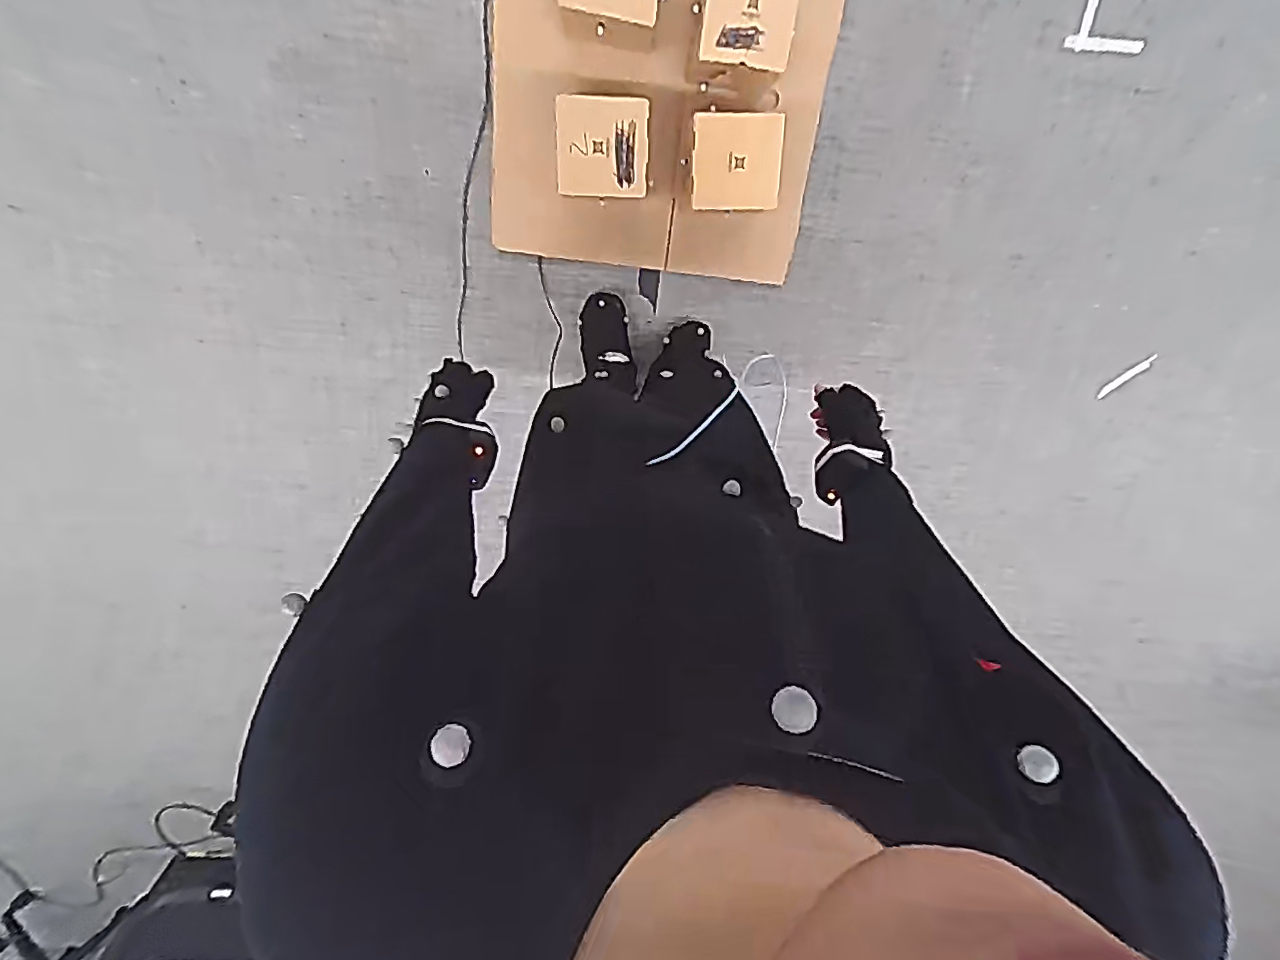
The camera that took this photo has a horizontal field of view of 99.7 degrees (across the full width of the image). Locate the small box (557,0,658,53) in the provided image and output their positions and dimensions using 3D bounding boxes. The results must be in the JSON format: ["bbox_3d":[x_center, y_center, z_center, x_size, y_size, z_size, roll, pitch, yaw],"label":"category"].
[{"bbox_3d":[-0.050,-0.921,0.992,0.179,0.176,0.168,8,114,-7],"label":"small box"}]

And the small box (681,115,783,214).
[{"bbox_3d":[0.184,-0.653,1.133,0.179,0.176,0.168,0,115,-1],"label":"small box"}]

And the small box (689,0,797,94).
[{"bbox_3d":[0.193,-0.868,1.034,0.168,0.176,0.179,6,113,-5],"label":"small box"}]
